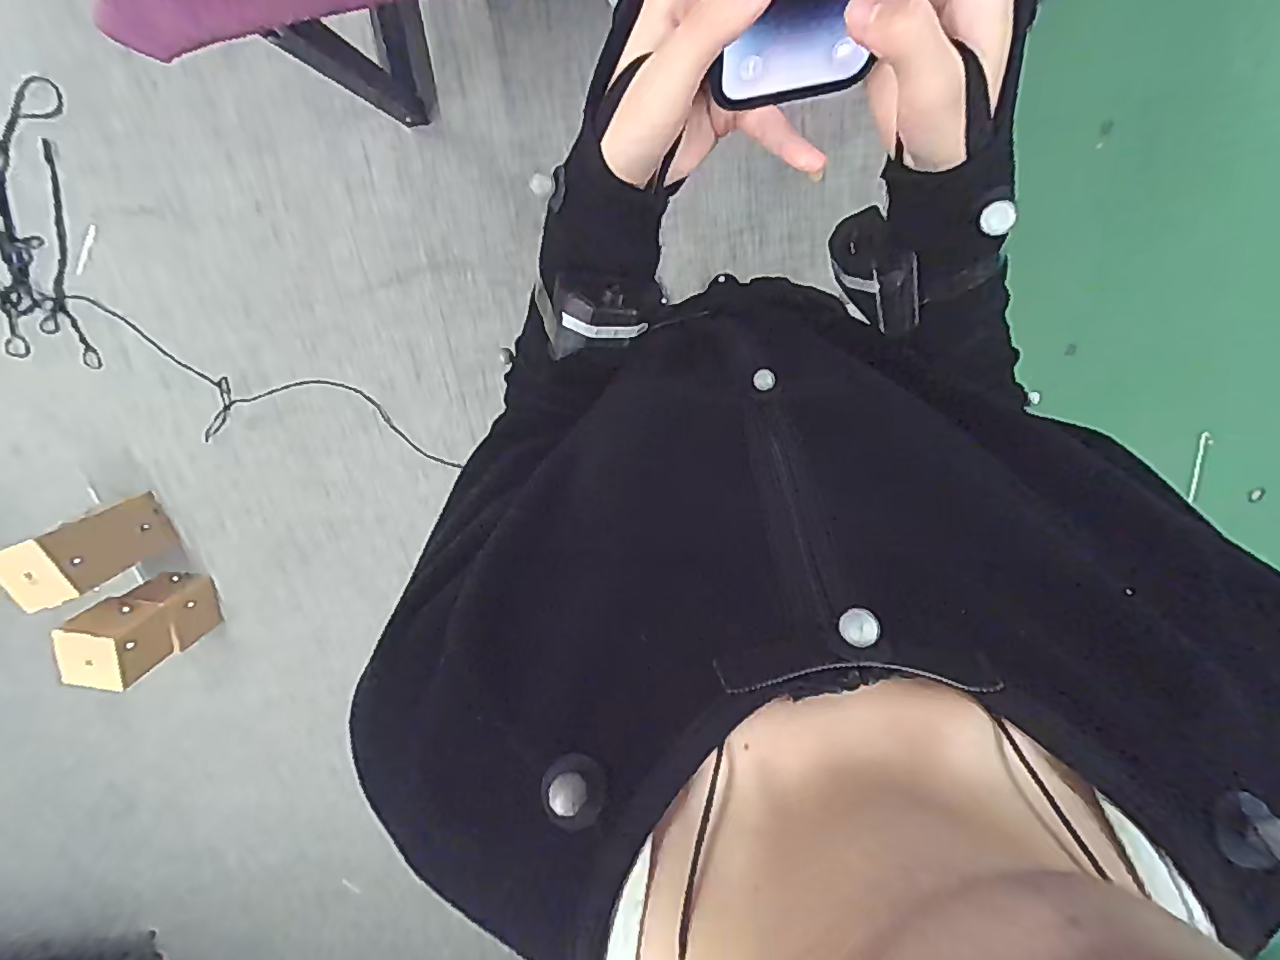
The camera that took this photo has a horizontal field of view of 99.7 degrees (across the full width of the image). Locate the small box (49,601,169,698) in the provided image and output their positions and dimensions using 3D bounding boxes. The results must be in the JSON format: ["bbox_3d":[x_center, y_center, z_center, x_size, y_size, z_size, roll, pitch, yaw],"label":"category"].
[{"bbox_3d":[-1.460,0.466,1.502,0.168,0.176,0.179,10,108,-1],"label":"small box"}]

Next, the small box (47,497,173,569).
[{"bbox_3d":[-1.518,0.165,1.569,0.179,0.176,0.168,-13,108,7],"label":"small box"}]

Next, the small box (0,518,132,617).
[{"bbox_3d":[-1.509,0.224,1.416,0.168,0.176,0.179,-18,108,7],"label":"small box"}]
